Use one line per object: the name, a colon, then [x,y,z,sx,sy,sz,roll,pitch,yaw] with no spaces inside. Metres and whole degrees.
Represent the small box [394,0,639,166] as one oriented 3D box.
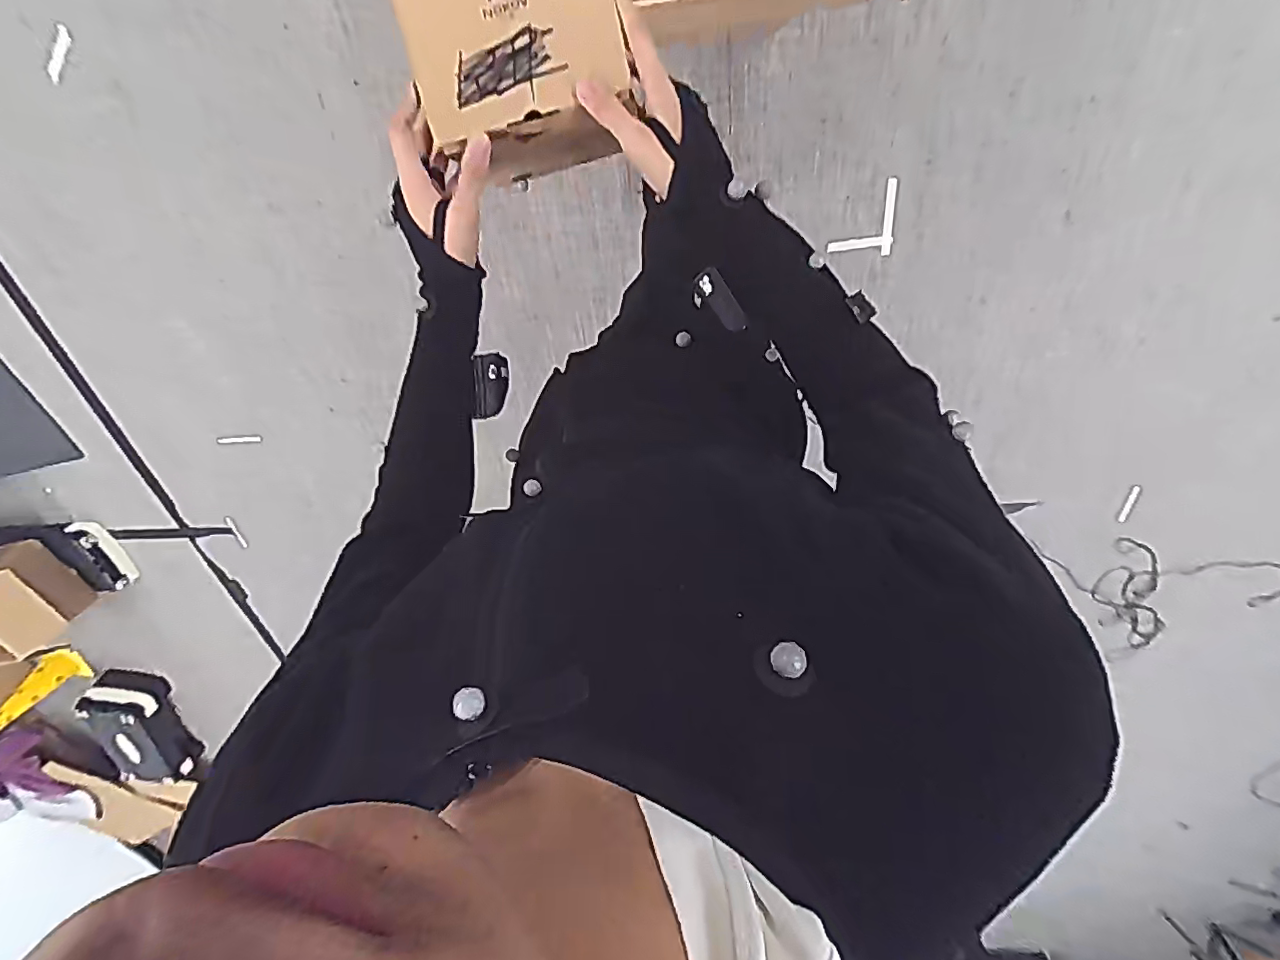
small box: [-0.100,-0.397,0.475,0.168,0.176,0.179,-12,108,7]
